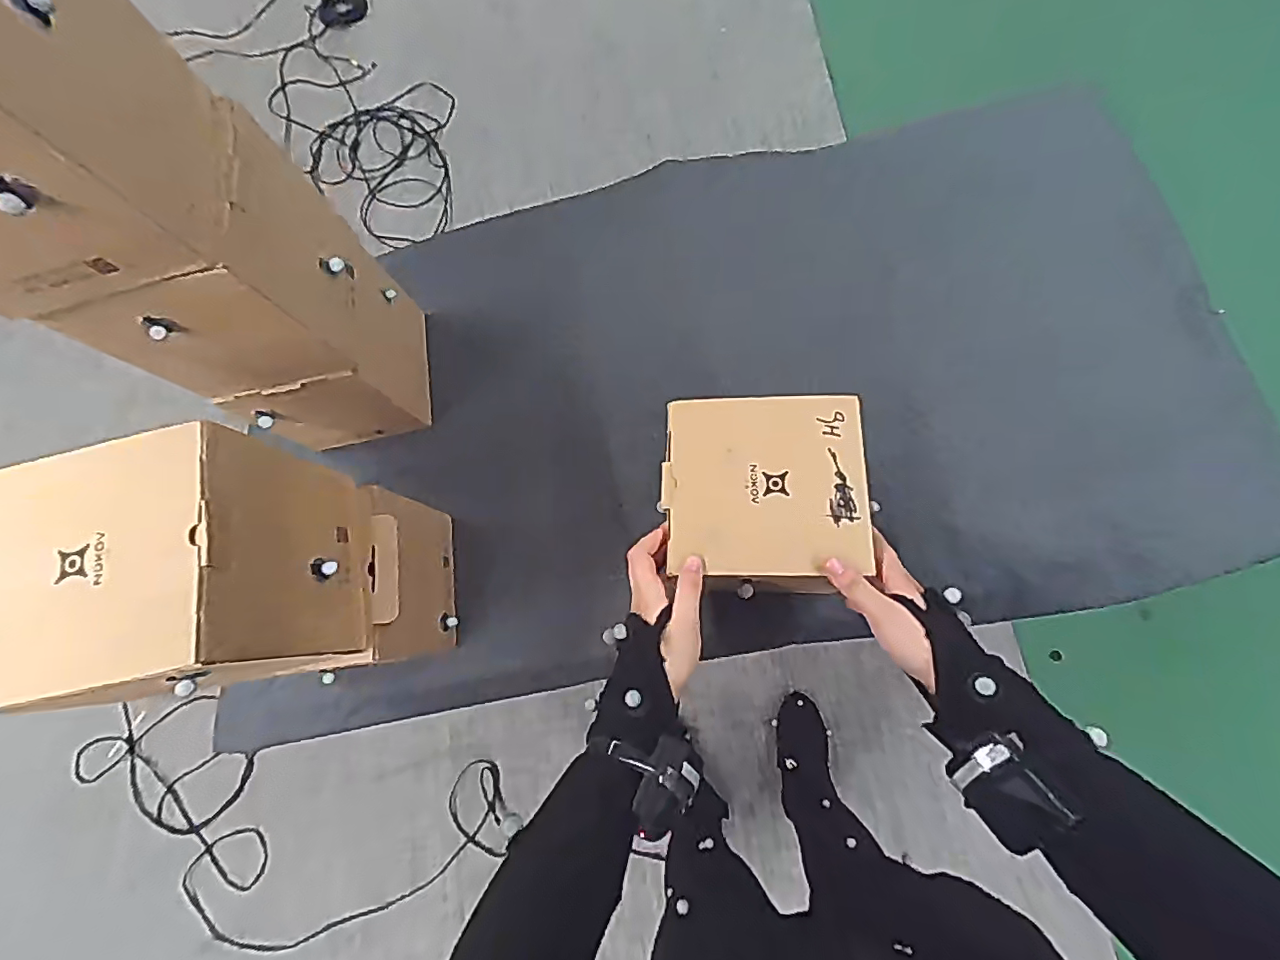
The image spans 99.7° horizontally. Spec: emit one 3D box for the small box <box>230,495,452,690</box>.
[{"bbox_3d":[-0.316,0.122,0.584,0.179,0.176,0.168,-9,74,5],"label":"small box"}]

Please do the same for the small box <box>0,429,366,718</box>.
[{"bbox_3d":[-0.352,0.081,0.430,0.179,0.176,0.168,-14,74,3],"label":"small box"}]

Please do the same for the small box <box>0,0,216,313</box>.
[{"bbox_3d":[-0.415,-0.230,0.348,0.168,0.176,0.179,-14,73,2],"label":"small box"}]

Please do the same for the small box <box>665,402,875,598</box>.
[{"bbox_3d":[0.122,0.032,0.552,0.179,0.176,0.168,-1,74,8],"label":"small box"}]

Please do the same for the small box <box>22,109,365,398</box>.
[{"bbox_3d":[-0.389,-0.191,0.503,0.179,0.176,0.168,-10,75,4],"label":"small box"}]
